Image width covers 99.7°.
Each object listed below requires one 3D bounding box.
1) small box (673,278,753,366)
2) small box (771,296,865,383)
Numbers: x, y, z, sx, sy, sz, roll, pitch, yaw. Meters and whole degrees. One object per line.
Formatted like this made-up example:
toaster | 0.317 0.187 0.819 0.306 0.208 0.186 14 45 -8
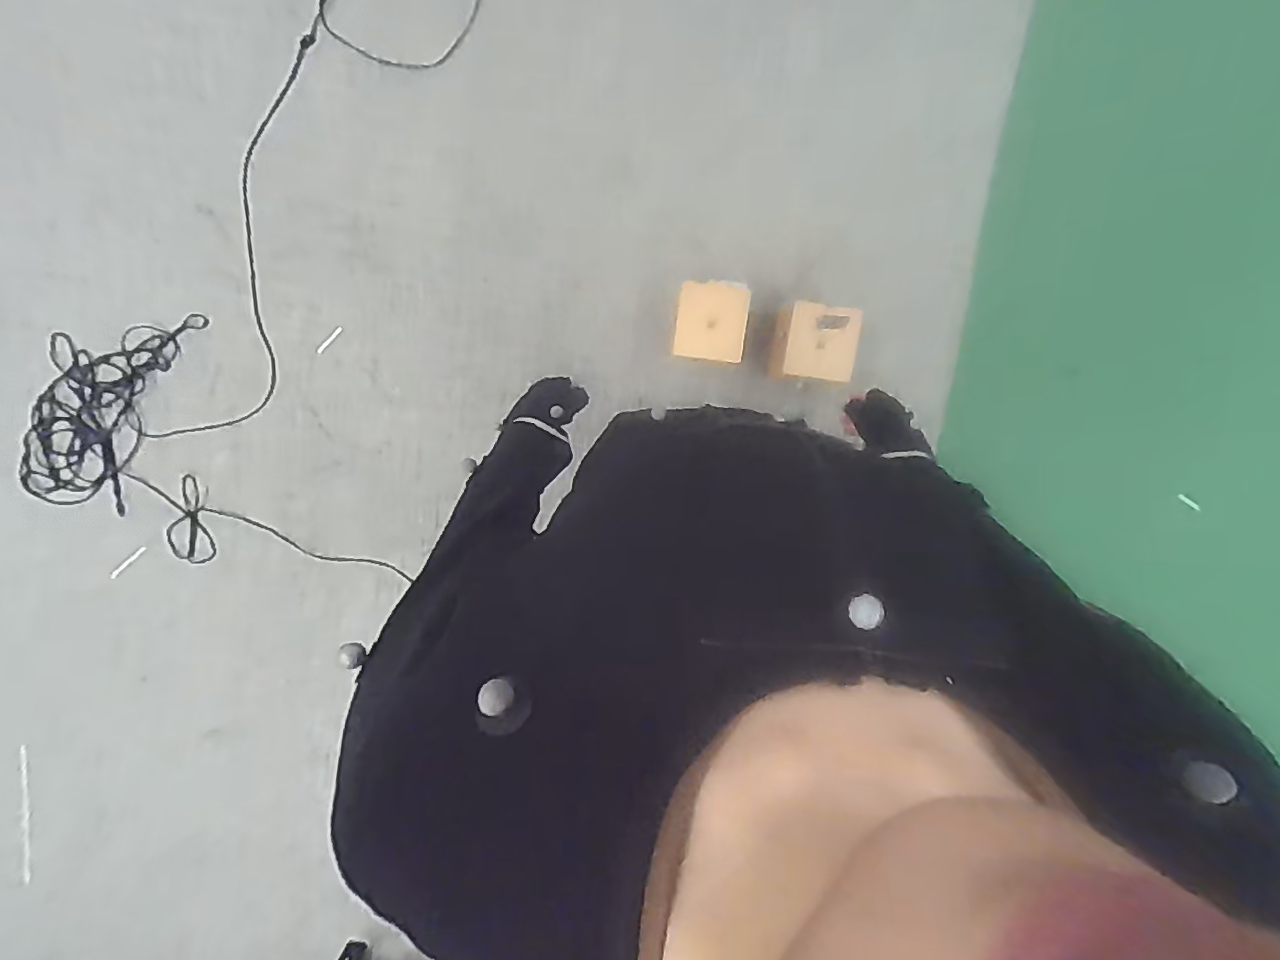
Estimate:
small box | 0.173 -0.384 1.343 0.168 0.176 0.179 7 97 0
small box | 0.433 -0.341 1.342 0.168 0.176 0.179 8 98 0
